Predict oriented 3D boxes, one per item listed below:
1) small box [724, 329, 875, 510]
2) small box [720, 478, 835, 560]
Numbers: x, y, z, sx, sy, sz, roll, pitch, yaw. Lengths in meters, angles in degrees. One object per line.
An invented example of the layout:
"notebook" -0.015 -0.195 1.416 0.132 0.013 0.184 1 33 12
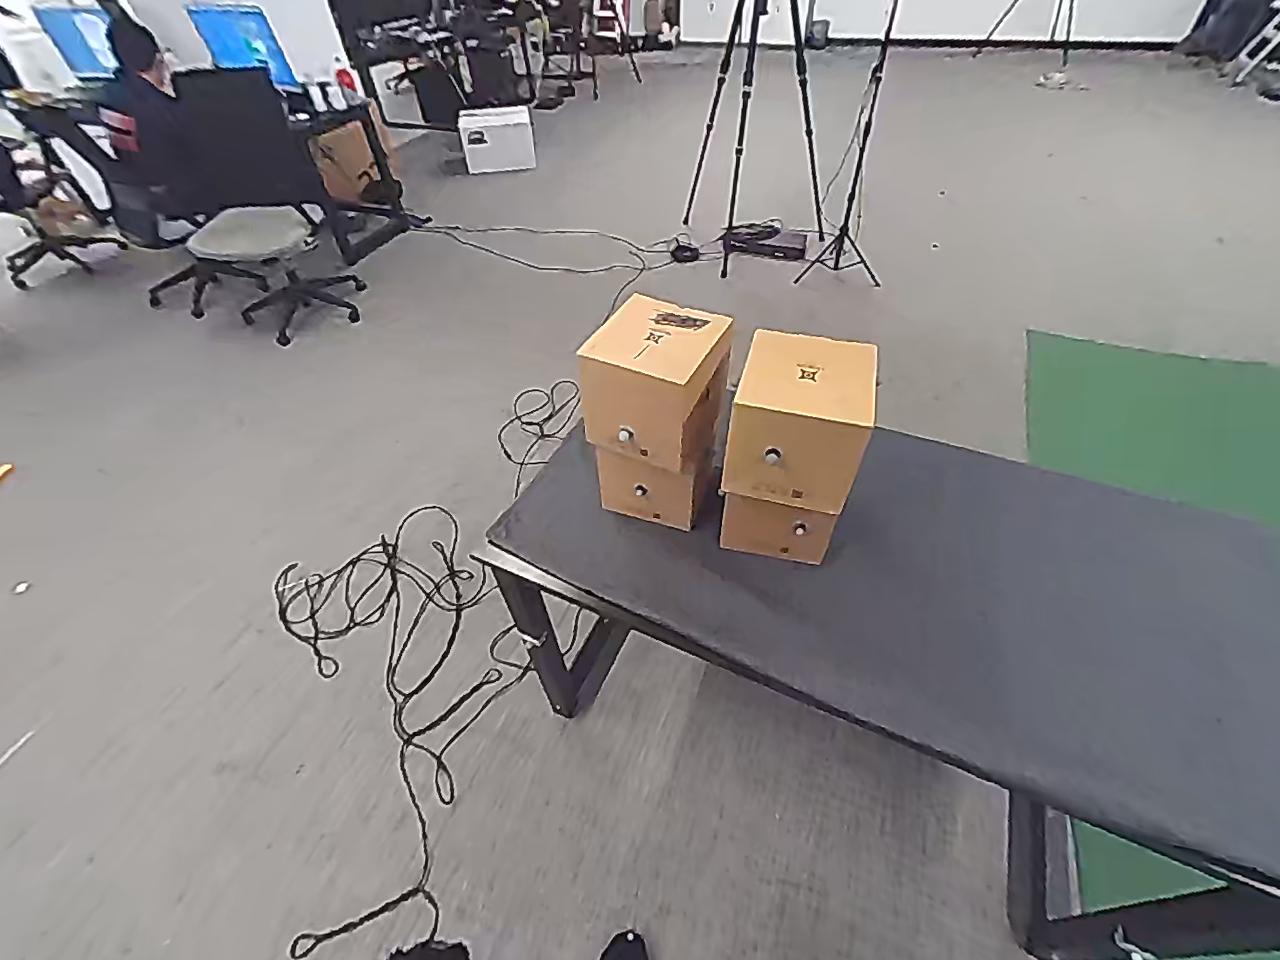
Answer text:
"small box" 0.216 -0.082 0.751 0.168 0.176 0.179 12 48 12
"small box" 0.228 0.007 0.888 0.168 0.176 0.179 11 48 10
